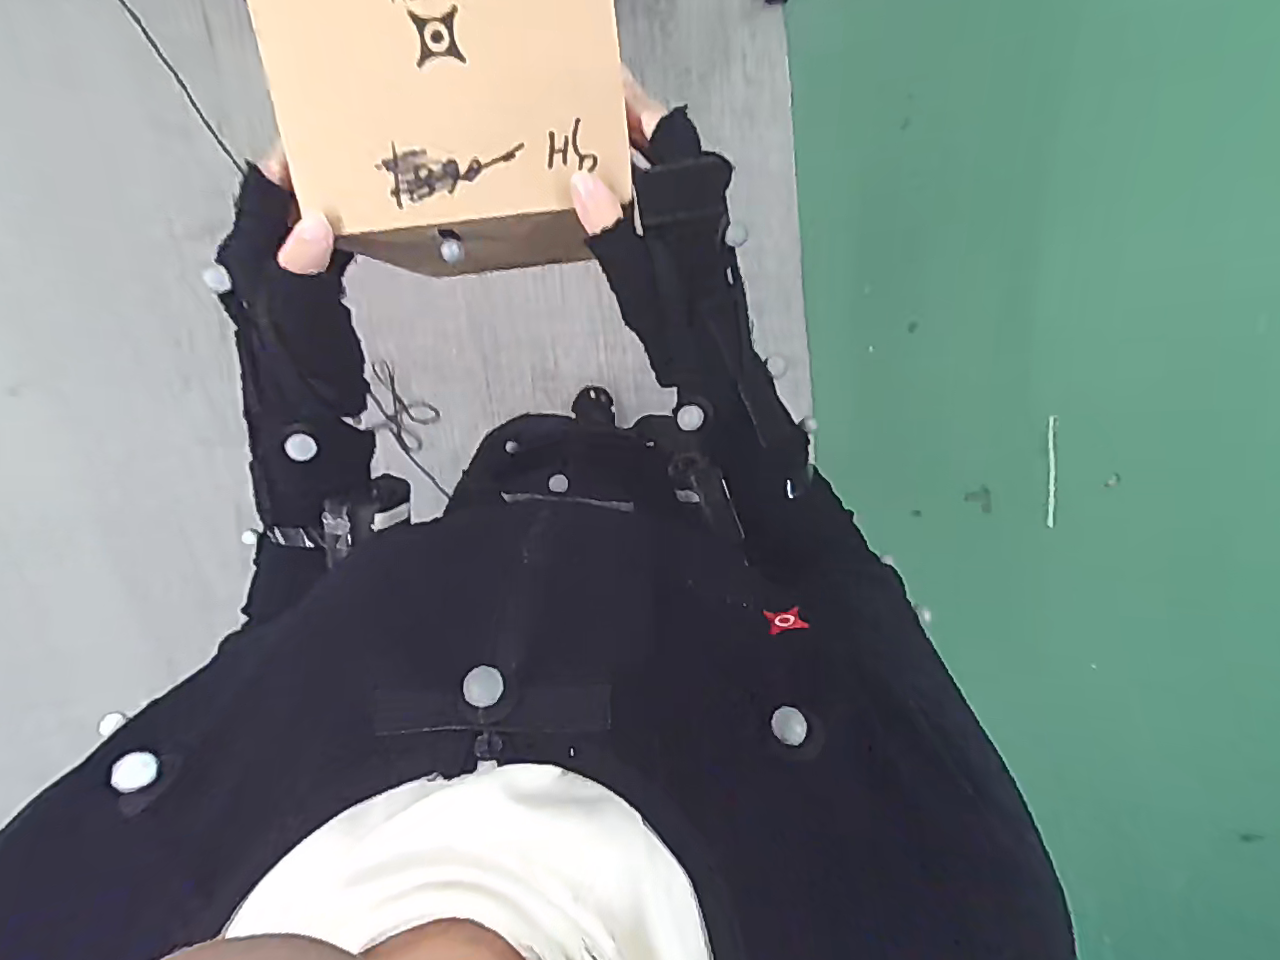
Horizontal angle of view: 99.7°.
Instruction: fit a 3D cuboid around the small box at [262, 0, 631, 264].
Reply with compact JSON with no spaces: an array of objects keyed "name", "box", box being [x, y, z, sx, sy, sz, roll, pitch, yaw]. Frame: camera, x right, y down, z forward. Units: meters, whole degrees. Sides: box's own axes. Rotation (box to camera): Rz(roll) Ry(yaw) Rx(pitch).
[{"name":"small box","box":[-0.095,-0.243,0.329,0.168,0.176,0.179,-5,103,1]}]
